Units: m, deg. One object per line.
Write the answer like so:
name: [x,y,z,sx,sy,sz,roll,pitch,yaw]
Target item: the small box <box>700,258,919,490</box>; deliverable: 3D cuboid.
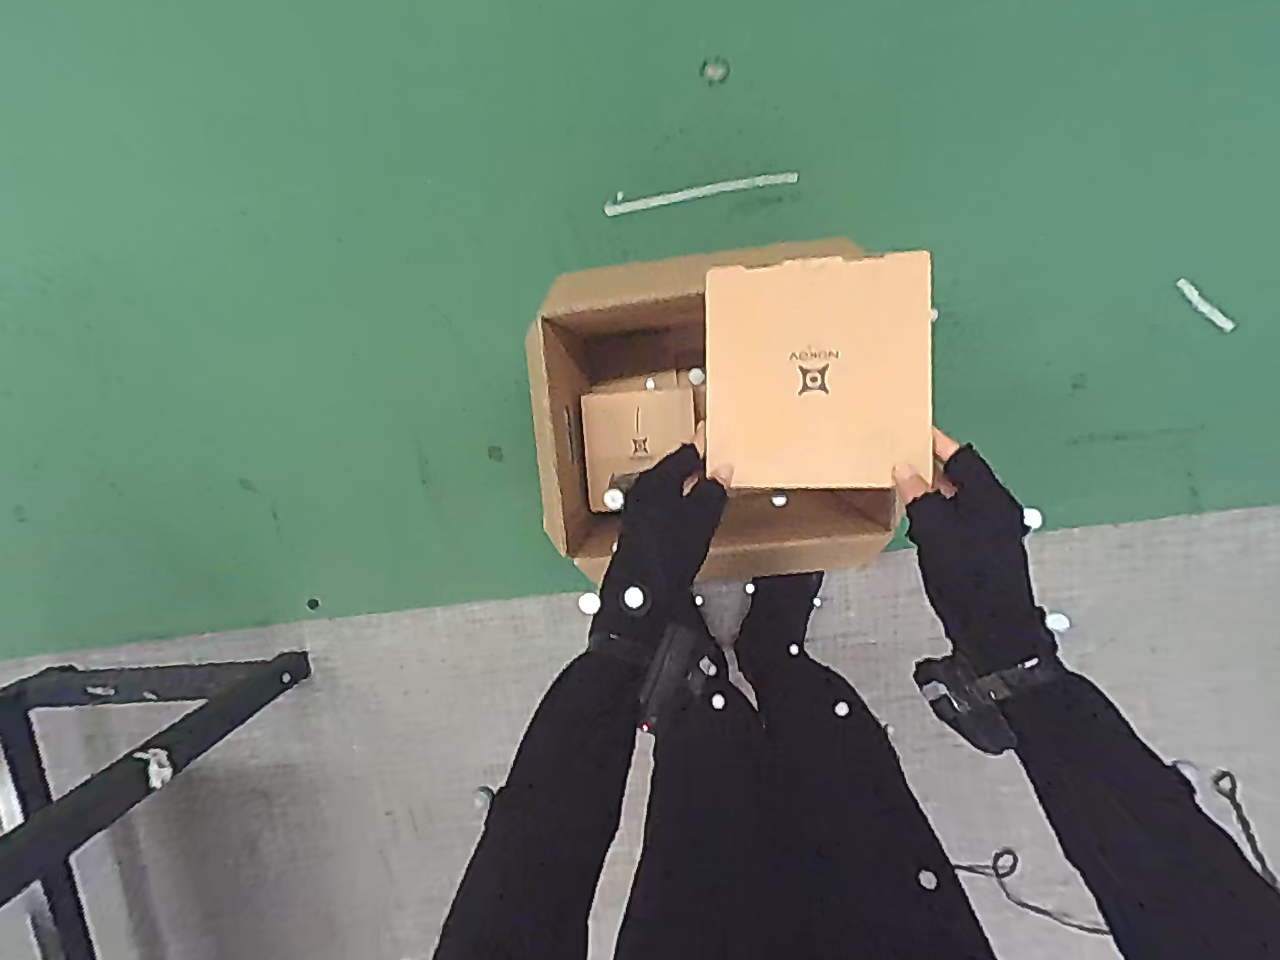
small box: [0.146,-0.079,0.499,0.168,0.176,0.179,-1,88,12]
